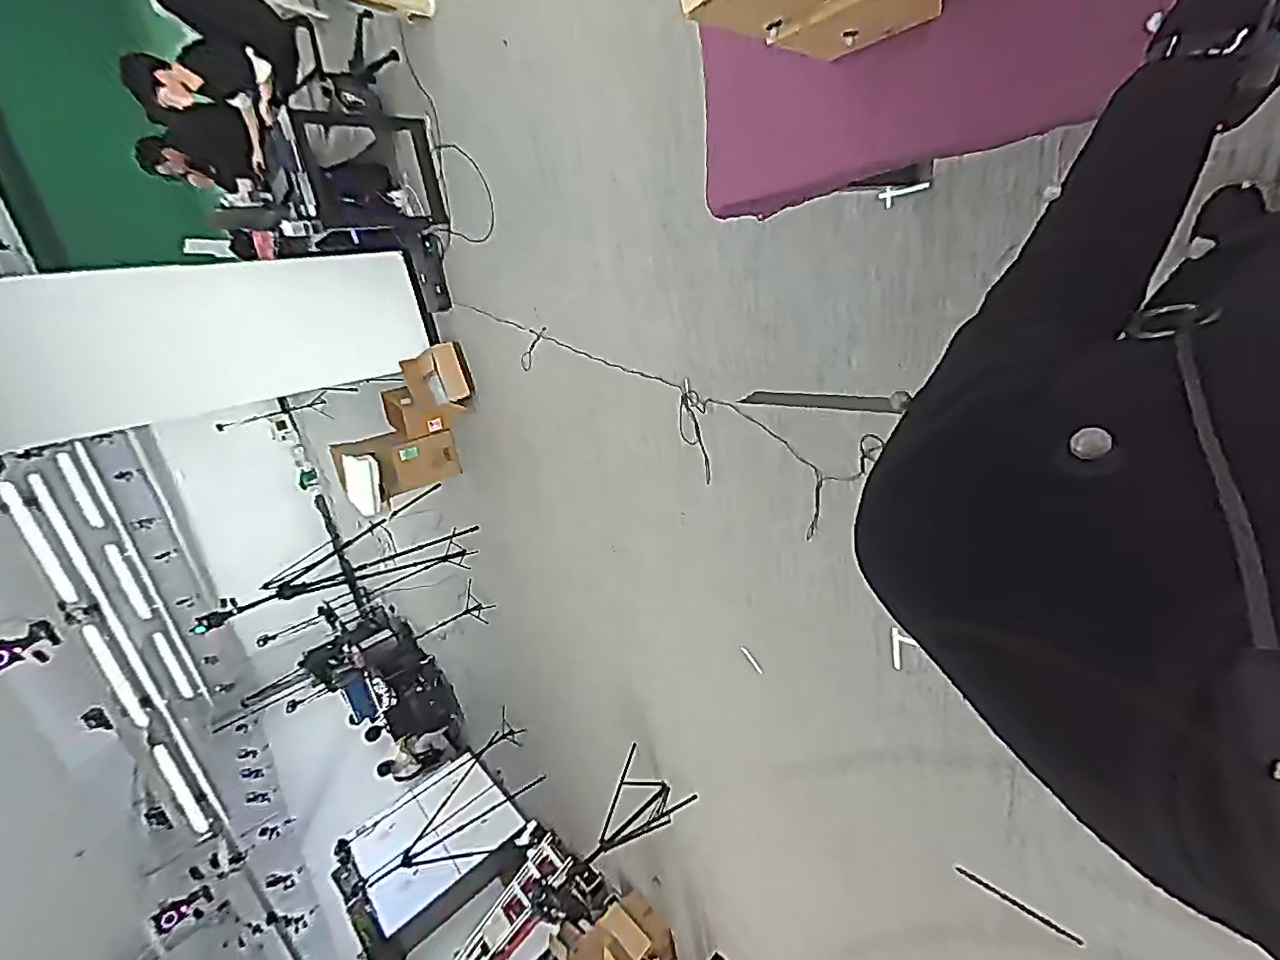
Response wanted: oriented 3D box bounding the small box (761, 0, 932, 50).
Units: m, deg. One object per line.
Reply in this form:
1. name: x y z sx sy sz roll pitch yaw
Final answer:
1. small box: 0.269 -0.688 0.698 0.168 0.176 0.179 16 121 45

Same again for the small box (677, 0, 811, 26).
1. small box: 0.145 -0.644 0.599 0.168 0.176 0.179 11 117 47
